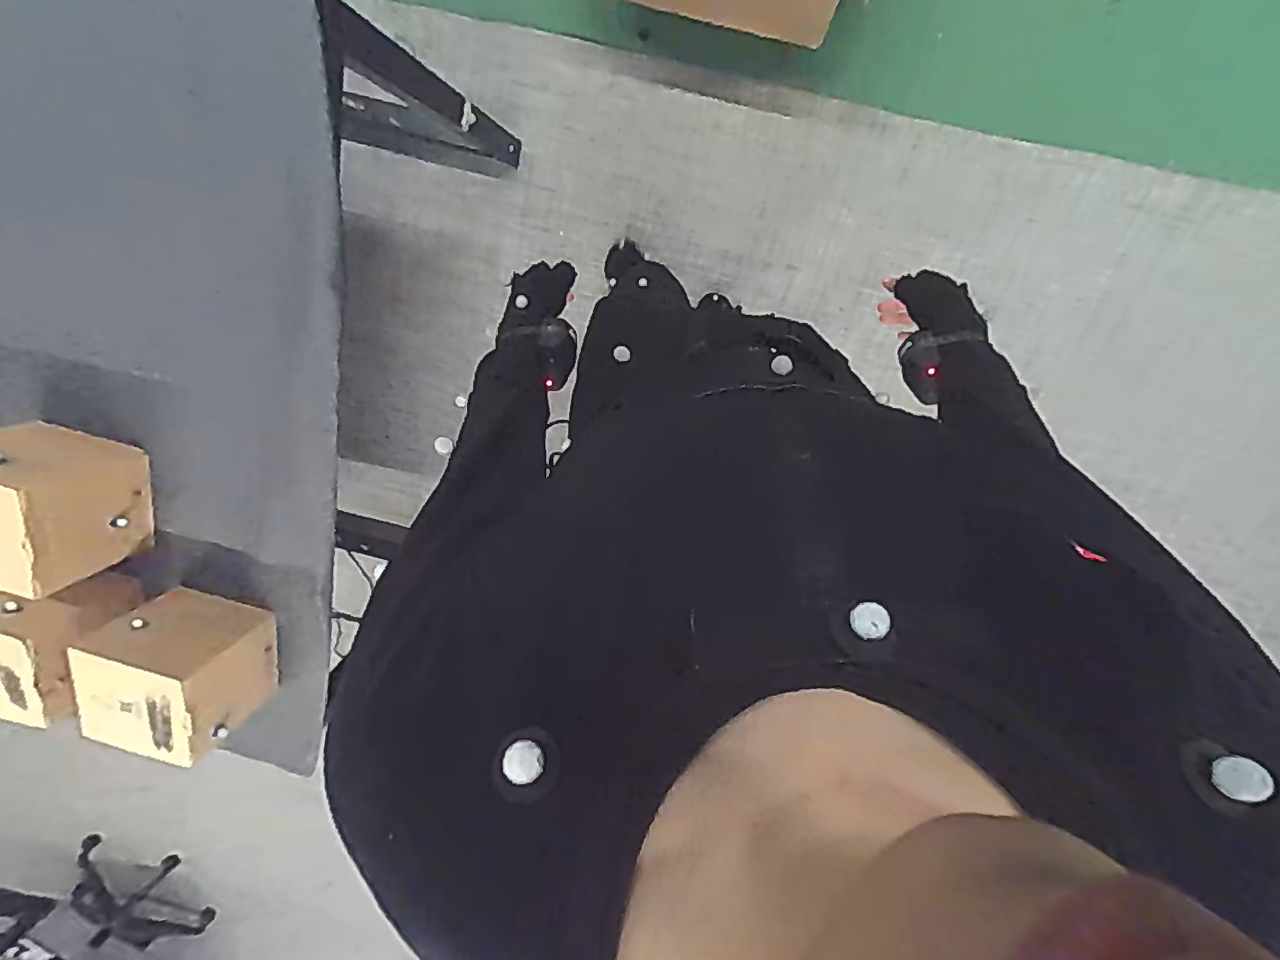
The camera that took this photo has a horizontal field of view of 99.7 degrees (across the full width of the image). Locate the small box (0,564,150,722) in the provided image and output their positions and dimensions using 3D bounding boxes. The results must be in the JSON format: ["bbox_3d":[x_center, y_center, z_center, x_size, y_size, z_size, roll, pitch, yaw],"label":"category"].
[{"bbox_3d":[-0.922,0.239,0.849,0.179,0.176,0.168,13,111,2],"label":"small box"}]

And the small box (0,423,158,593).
[{"bbox_3d":[-0.844,0.028,0.765,0.179,0.176,0.168,15,111,0],"label":"small box"}]
